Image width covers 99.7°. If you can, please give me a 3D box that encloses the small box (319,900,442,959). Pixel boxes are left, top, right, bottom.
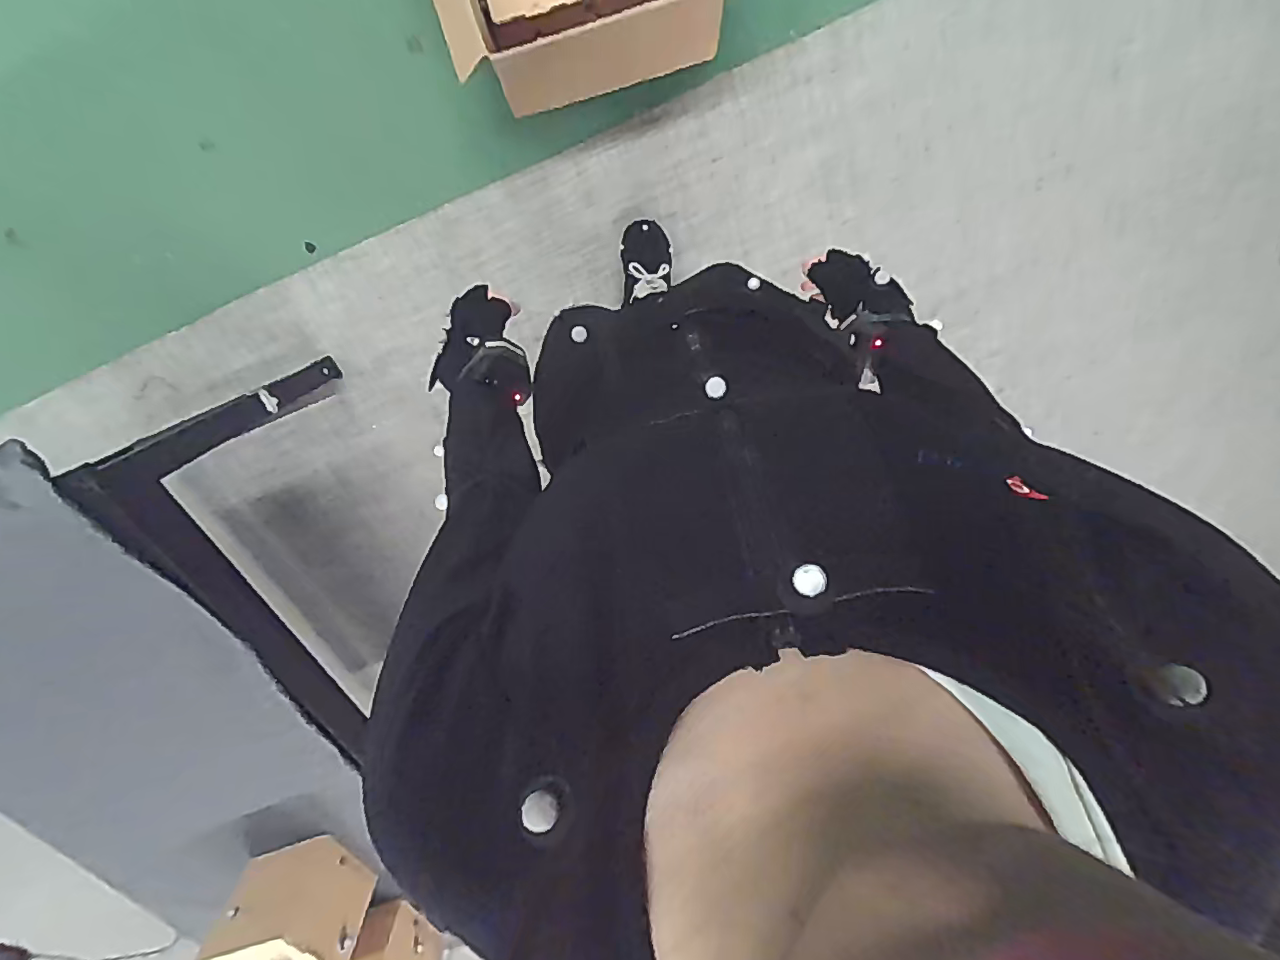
[{"bbox_3d":[-0.527,0.983,1.070,0.179,0.176,0.168,-22,114,7],"label":"small box"}]
